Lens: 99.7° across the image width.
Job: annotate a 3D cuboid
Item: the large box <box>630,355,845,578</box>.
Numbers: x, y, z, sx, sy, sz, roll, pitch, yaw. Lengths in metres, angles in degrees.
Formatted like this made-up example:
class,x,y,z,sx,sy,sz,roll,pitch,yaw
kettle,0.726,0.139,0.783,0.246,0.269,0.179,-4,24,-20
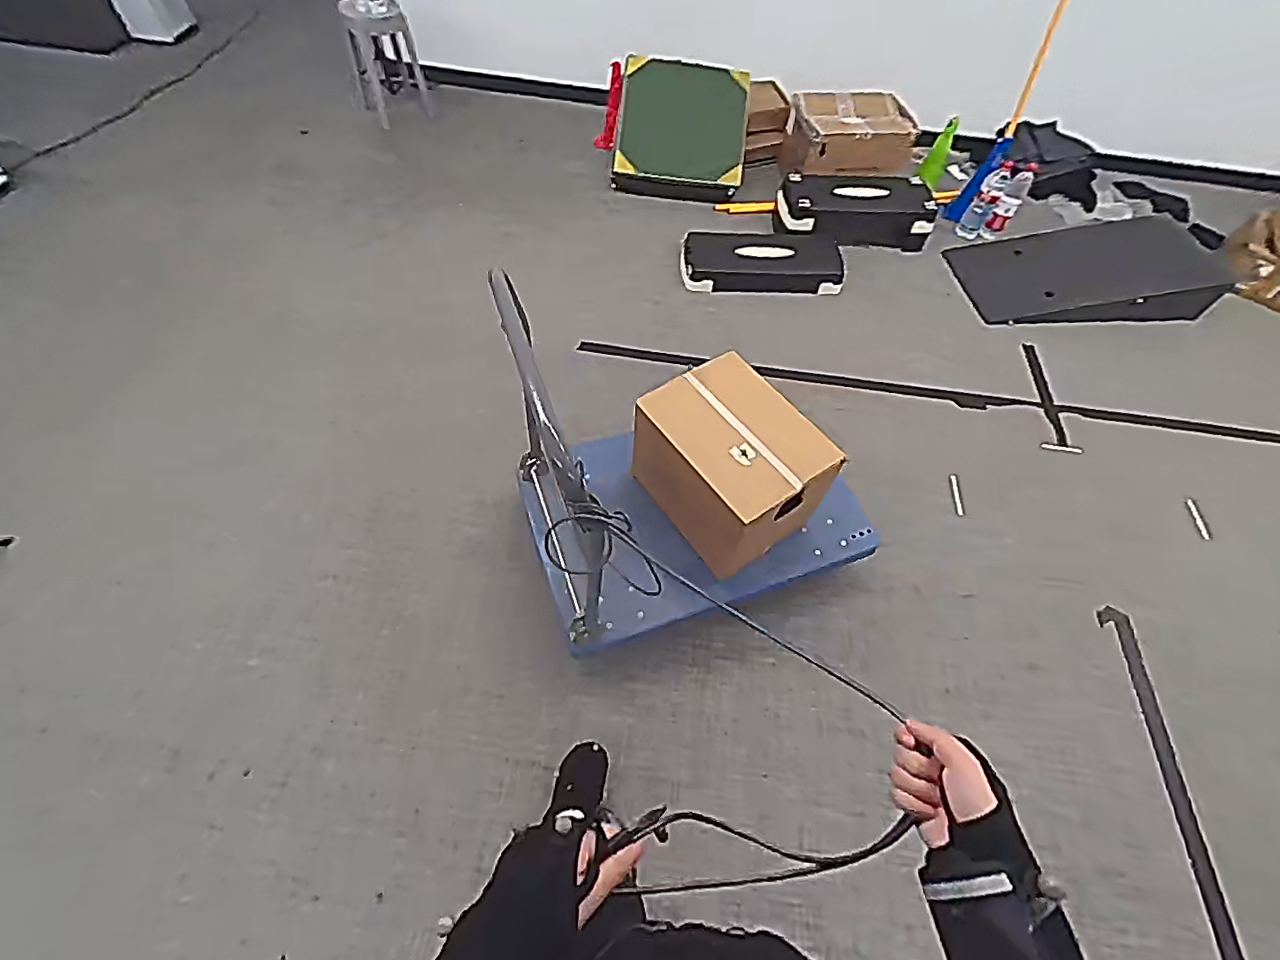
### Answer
class,x,y,z,sx,sy,sz,roll,pitch,yaw
large box,0.215,-0.034,1.366,0.320,0.320,0.408,-31,65,-19
